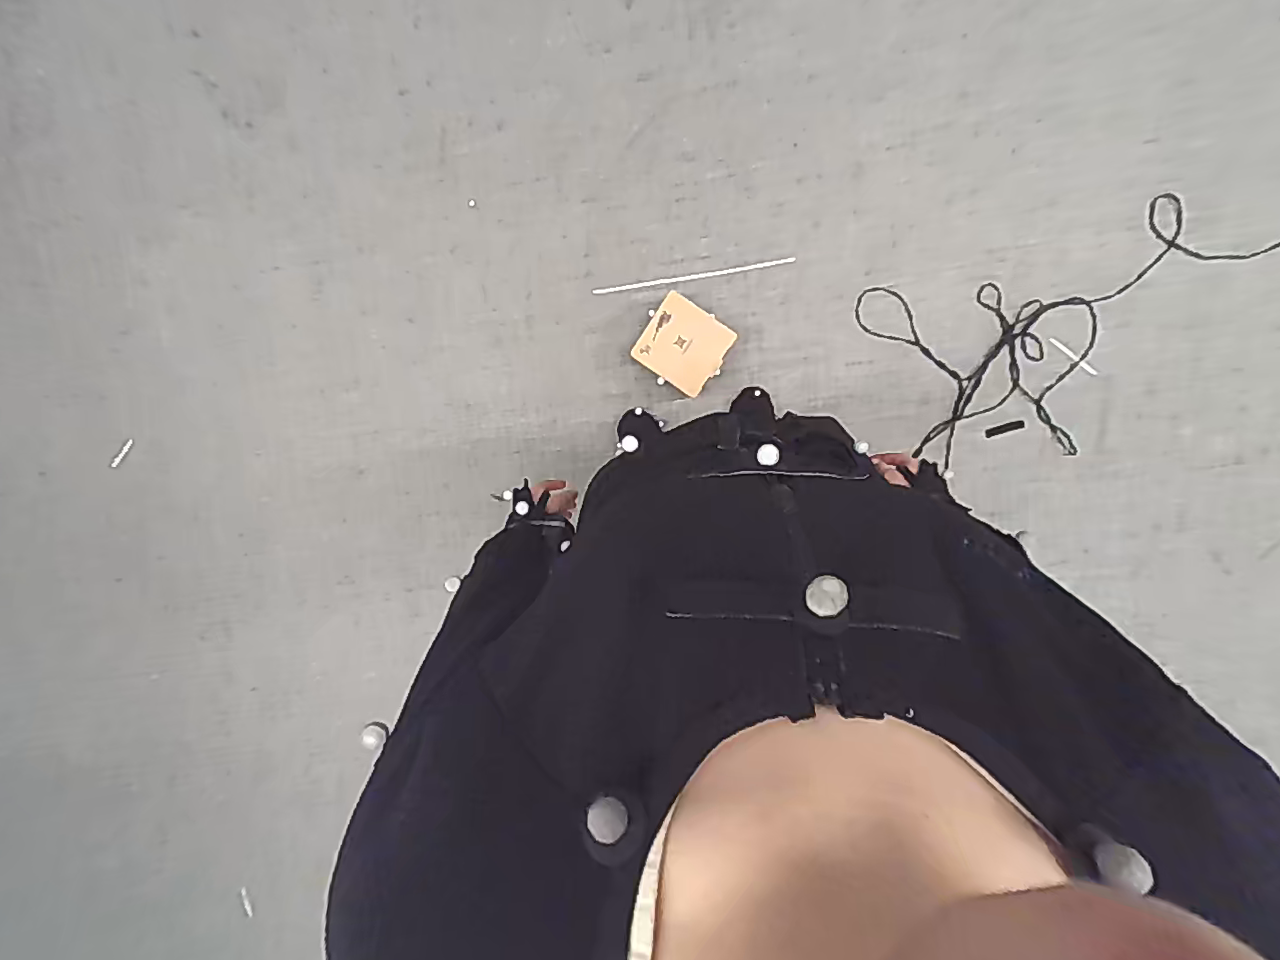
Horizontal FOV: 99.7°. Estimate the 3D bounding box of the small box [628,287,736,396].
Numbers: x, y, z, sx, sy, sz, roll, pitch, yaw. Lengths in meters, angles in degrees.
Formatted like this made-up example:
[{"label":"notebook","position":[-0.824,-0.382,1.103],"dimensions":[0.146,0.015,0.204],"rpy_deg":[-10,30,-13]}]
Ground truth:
[{"label":"small box","position":[0.093,-0.310,1.226],"dimensions":[0.179,0.176,0.168],"rpy_deg":[34,101,-4]}]
